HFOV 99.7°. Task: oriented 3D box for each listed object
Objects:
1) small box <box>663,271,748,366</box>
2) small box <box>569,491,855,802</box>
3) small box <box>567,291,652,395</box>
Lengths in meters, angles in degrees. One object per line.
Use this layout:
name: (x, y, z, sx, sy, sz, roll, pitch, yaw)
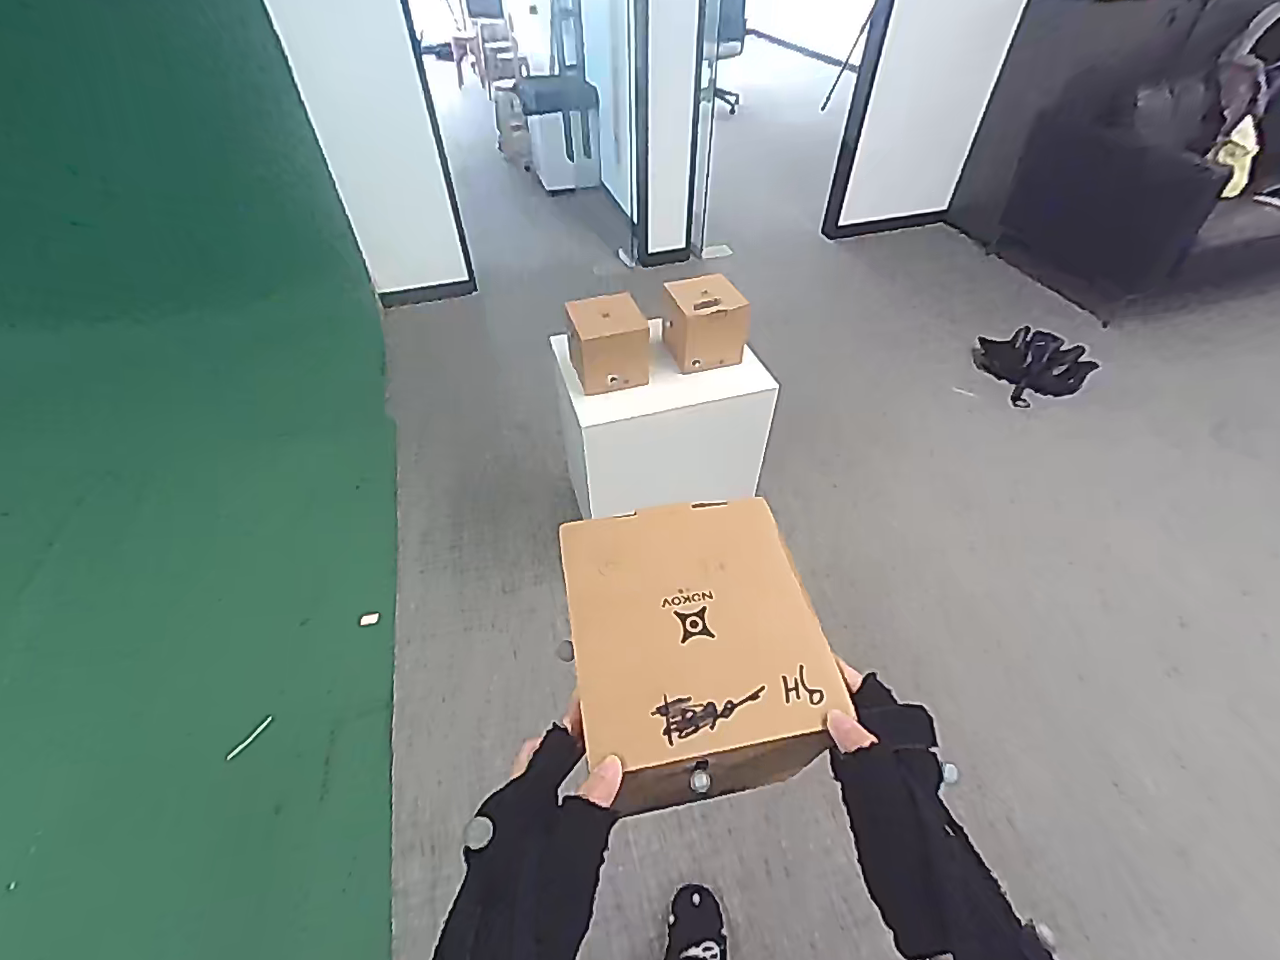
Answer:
small box: (0.163, -0.409, 1.389, 0.168, 0.176, 0.179, -14, 48, -11)
small box: (0.037, 0.135, 0.438, 0.168, 0.176, 0.179, -9, 52, -7)
small box: (-0.076, -0.337, 1.335, 0.168, 0.176, 0.179, -16, 50, -12)
